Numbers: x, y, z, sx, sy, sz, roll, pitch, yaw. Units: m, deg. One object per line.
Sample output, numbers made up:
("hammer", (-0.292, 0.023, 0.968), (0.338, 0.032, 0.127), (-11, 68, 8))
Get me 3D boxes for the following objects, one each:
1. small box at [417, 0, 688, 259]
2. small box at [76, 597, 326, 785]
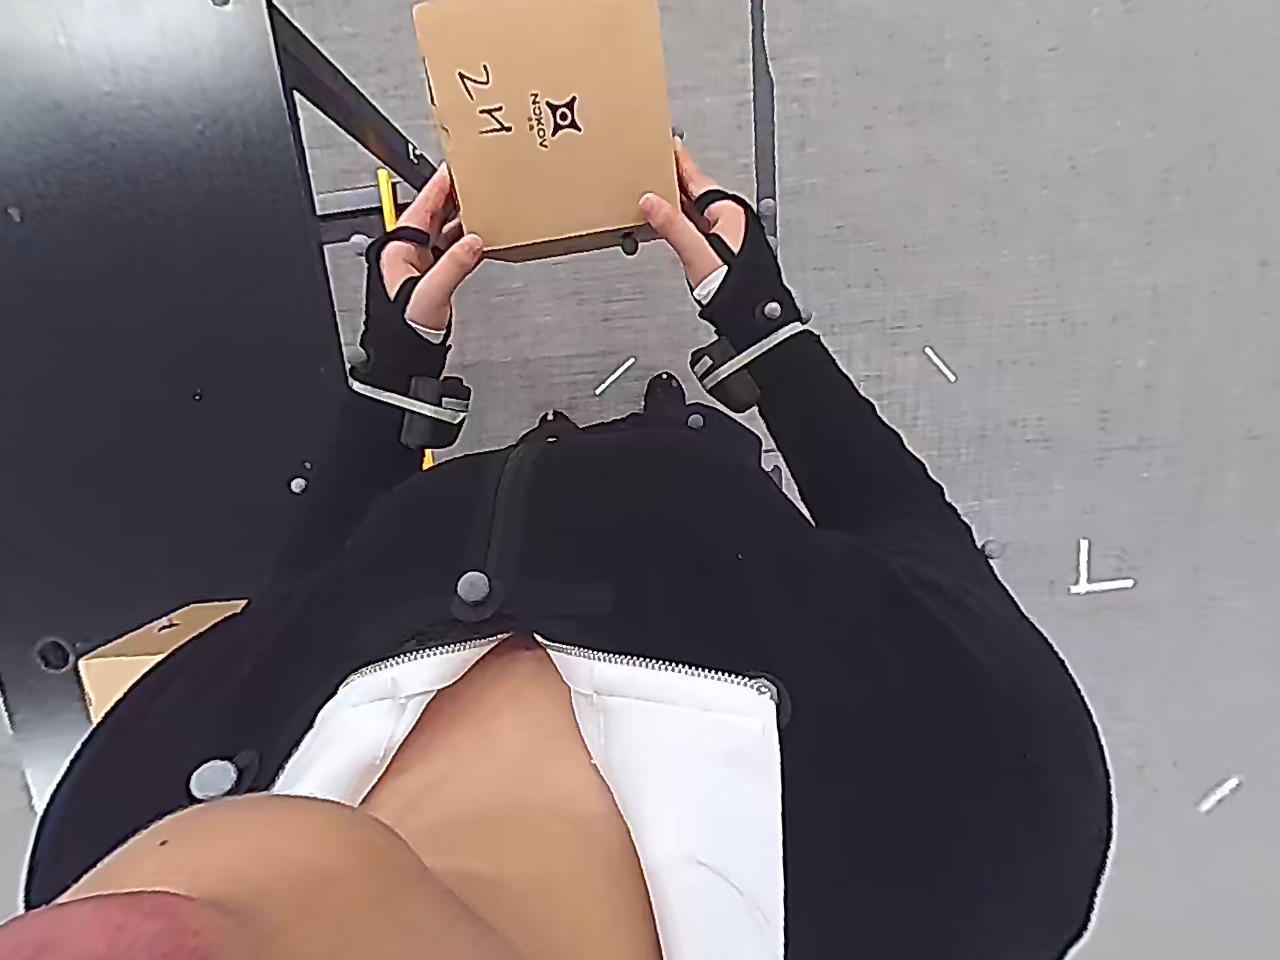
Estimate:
("small box", (-0.058, -0.293, 0.469), (0.179, 0.176, 0.168), (-7, 109, 4))
("small box", (-0.559, 0.268, 0.715), (0.179, 0.176, 0.168), (-5, 101, 1))
